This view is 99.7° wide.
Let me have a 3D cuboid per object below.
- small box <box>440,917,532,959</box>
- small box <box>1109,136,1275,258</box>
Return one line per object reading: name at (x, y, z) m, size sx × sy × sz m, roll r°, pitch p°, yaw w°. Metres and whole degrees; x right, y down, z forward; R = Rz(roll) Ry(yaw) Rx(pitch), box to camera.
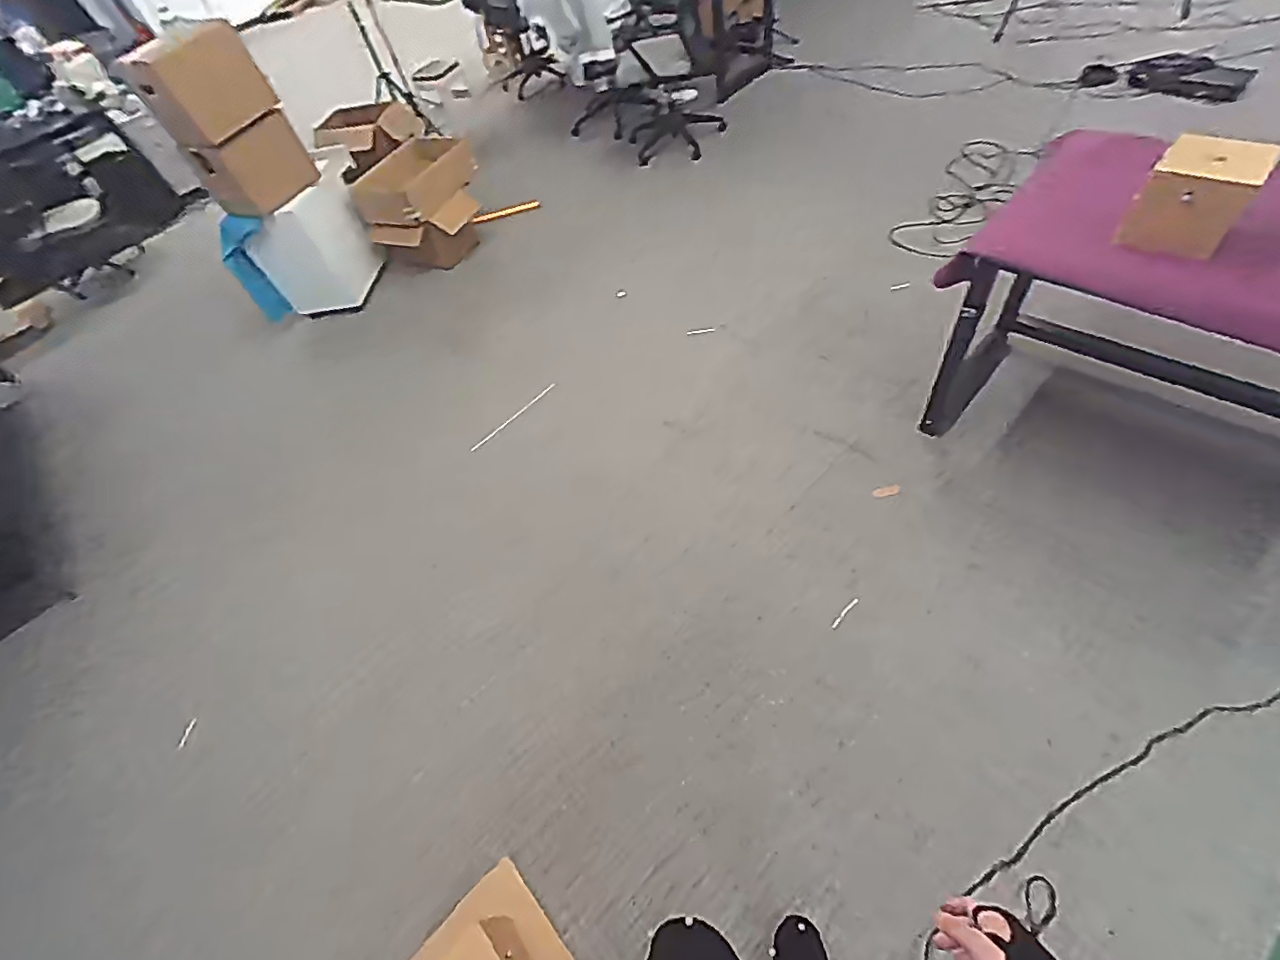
small box at (-0.342, 1.106, 1.186) m, size 0.168 × 0.176 × 0.179 m, roll -41°, pitch 57°, yaw -17°
small box at (1.194, -0.614, 1.182) m, size 0.179 × 0.176 × 0.168 m, roll 33°, pitch 68°, yaw 31°
